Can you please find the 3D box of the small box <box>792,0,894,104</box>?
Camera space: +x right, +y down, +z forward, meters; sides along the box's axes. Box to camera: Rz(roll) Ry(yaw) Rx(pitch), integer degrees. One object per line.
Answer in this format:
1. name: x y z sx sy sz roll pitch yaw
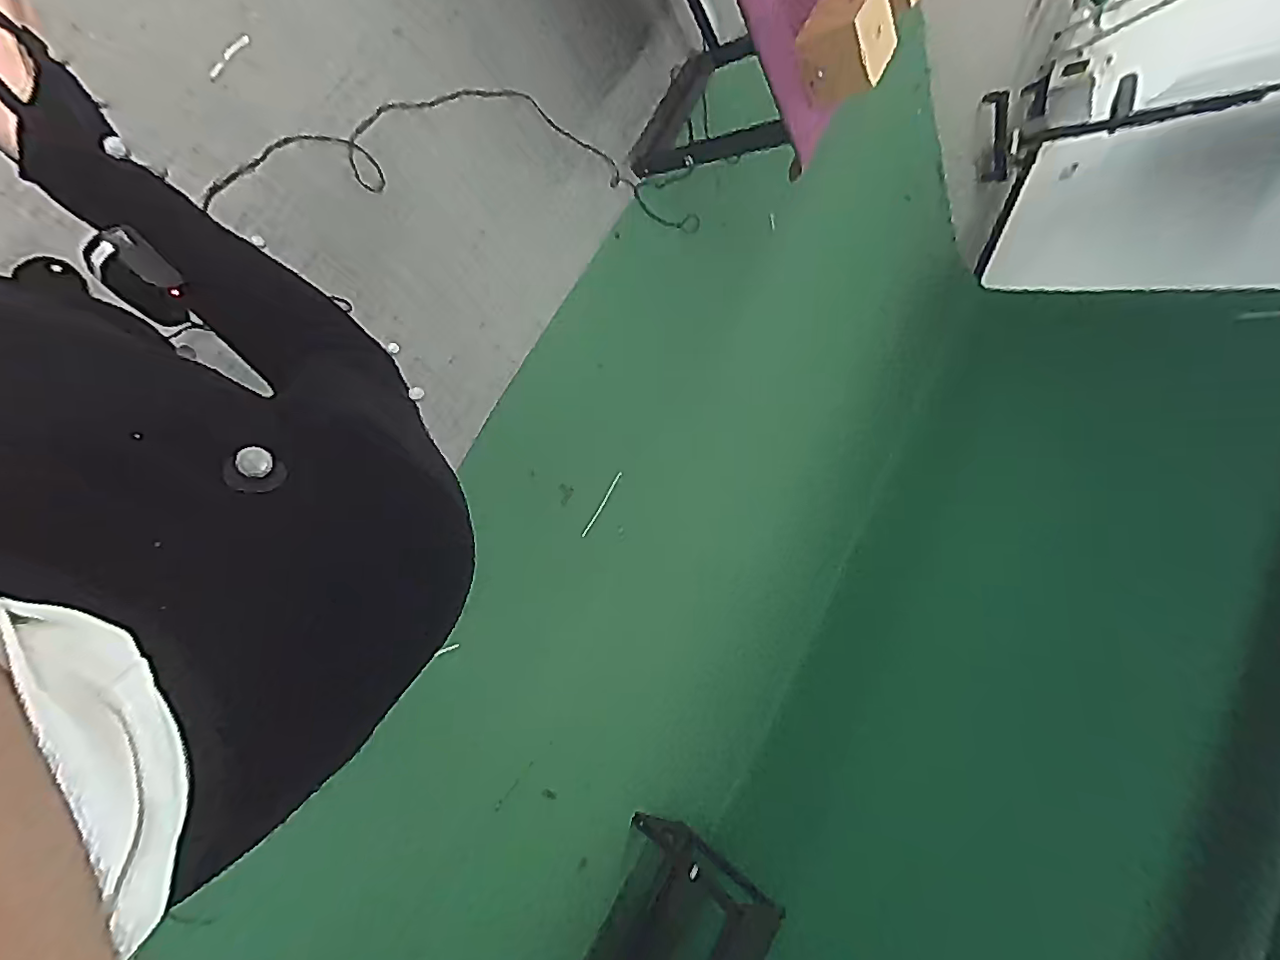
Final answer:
1. small box: 0.513 -1.107 1.370 0.168 0.176 0.179 41 73 -43
